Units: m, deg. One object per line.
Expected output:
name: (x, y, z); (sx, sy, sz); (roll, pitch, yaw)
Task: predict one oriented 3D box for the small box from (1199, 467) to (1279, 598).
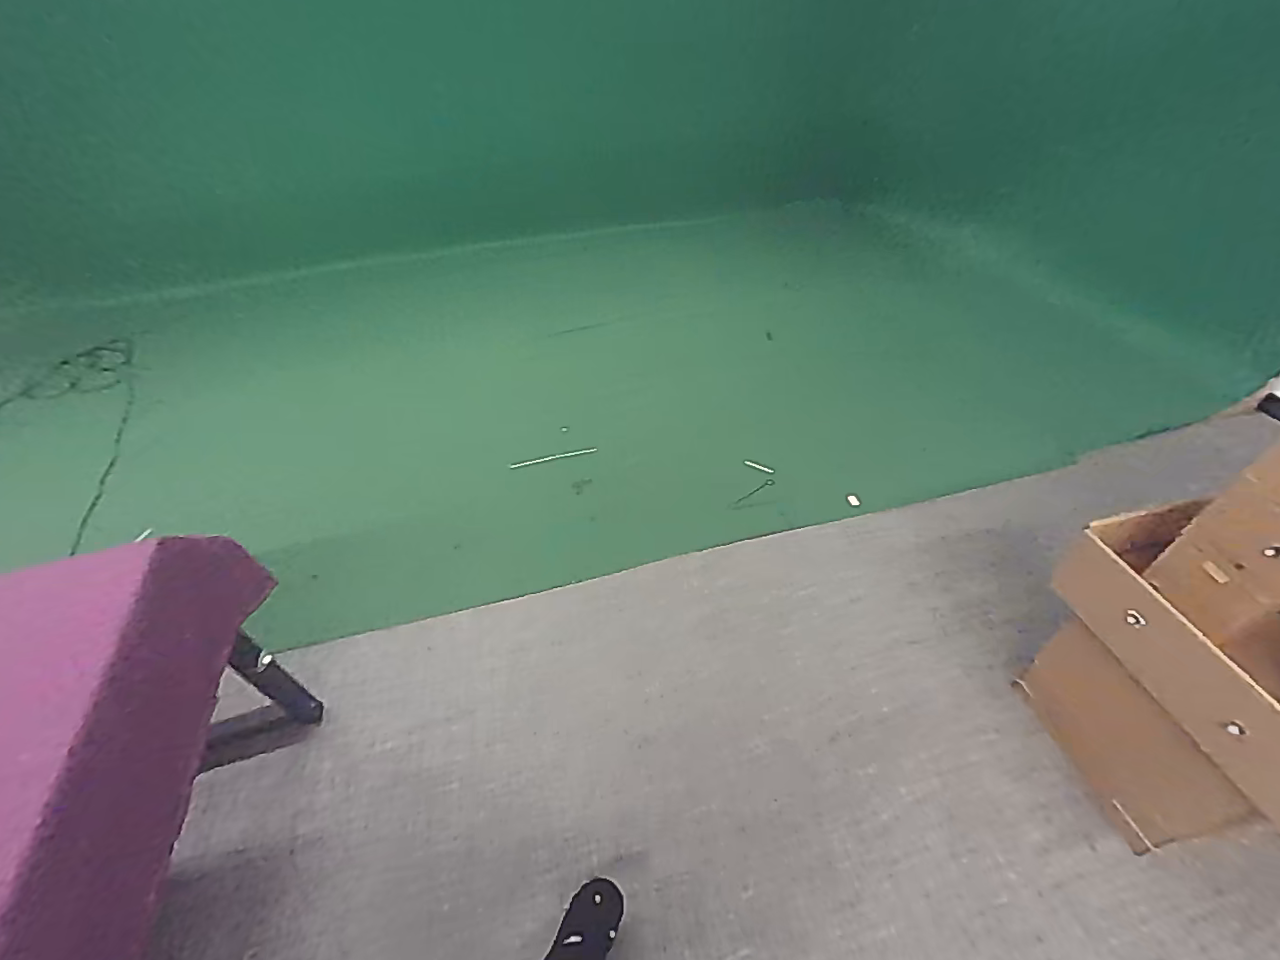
small box: (1.126, 0.083, 0.918); (0.179, 0.176, 0.168); (-7, 45, -3)
